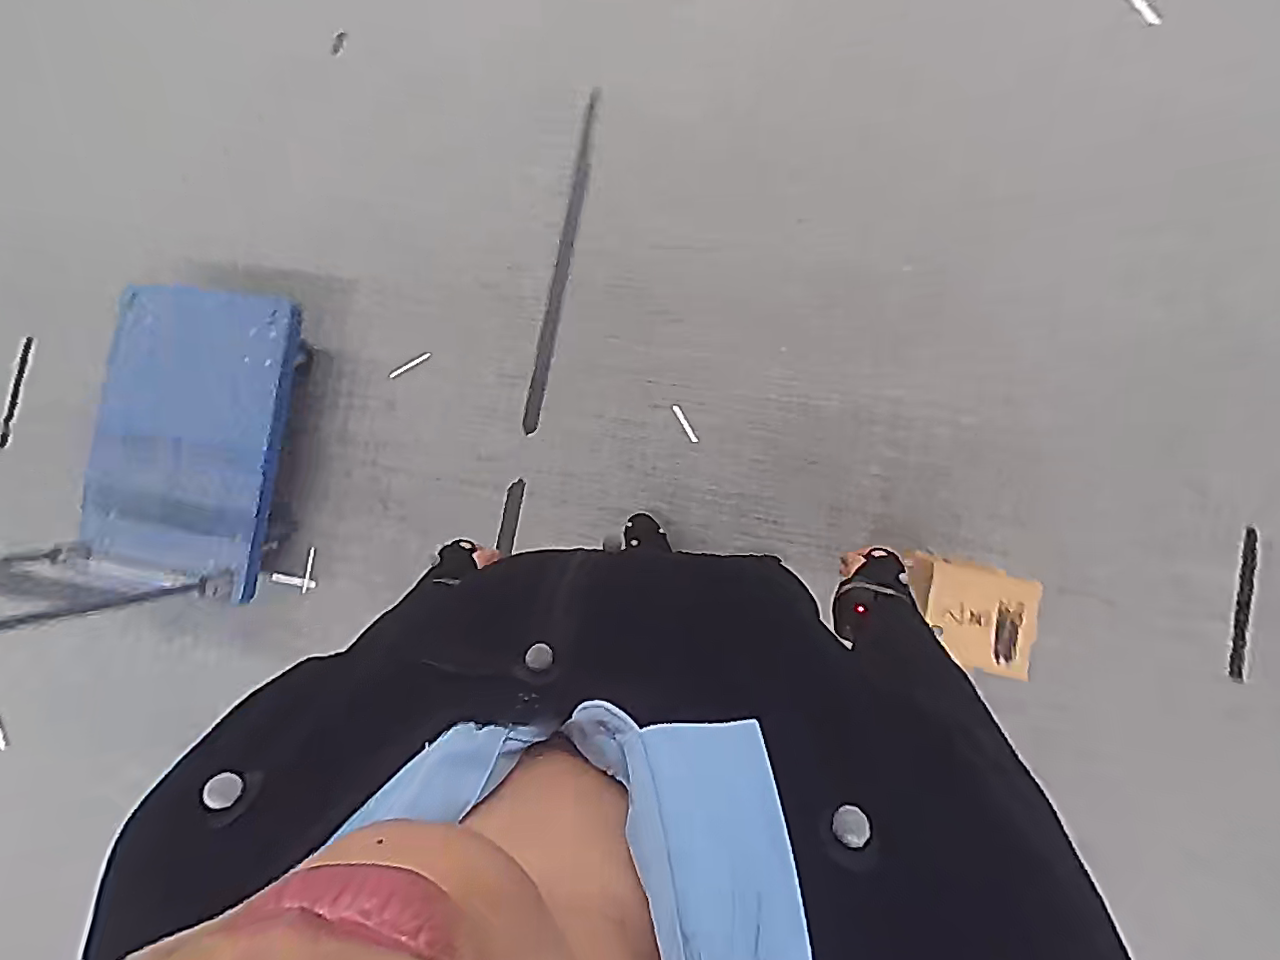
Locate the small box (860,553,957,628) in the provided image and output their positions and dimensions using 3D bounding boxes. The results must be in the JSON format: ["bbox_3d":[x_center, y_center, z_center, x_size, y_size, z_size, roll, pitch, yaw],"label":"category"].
[{"bbox_3d":[0.654,0.266,1.325,0.179,0.176,0.168,-1,86,8],"label":"small box"}]

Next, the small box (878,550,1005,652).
[{"bbox_3d":[0.638,0.250,1.163,0.179,0.176,0.168,11,88,9],"label":"small box"}]
